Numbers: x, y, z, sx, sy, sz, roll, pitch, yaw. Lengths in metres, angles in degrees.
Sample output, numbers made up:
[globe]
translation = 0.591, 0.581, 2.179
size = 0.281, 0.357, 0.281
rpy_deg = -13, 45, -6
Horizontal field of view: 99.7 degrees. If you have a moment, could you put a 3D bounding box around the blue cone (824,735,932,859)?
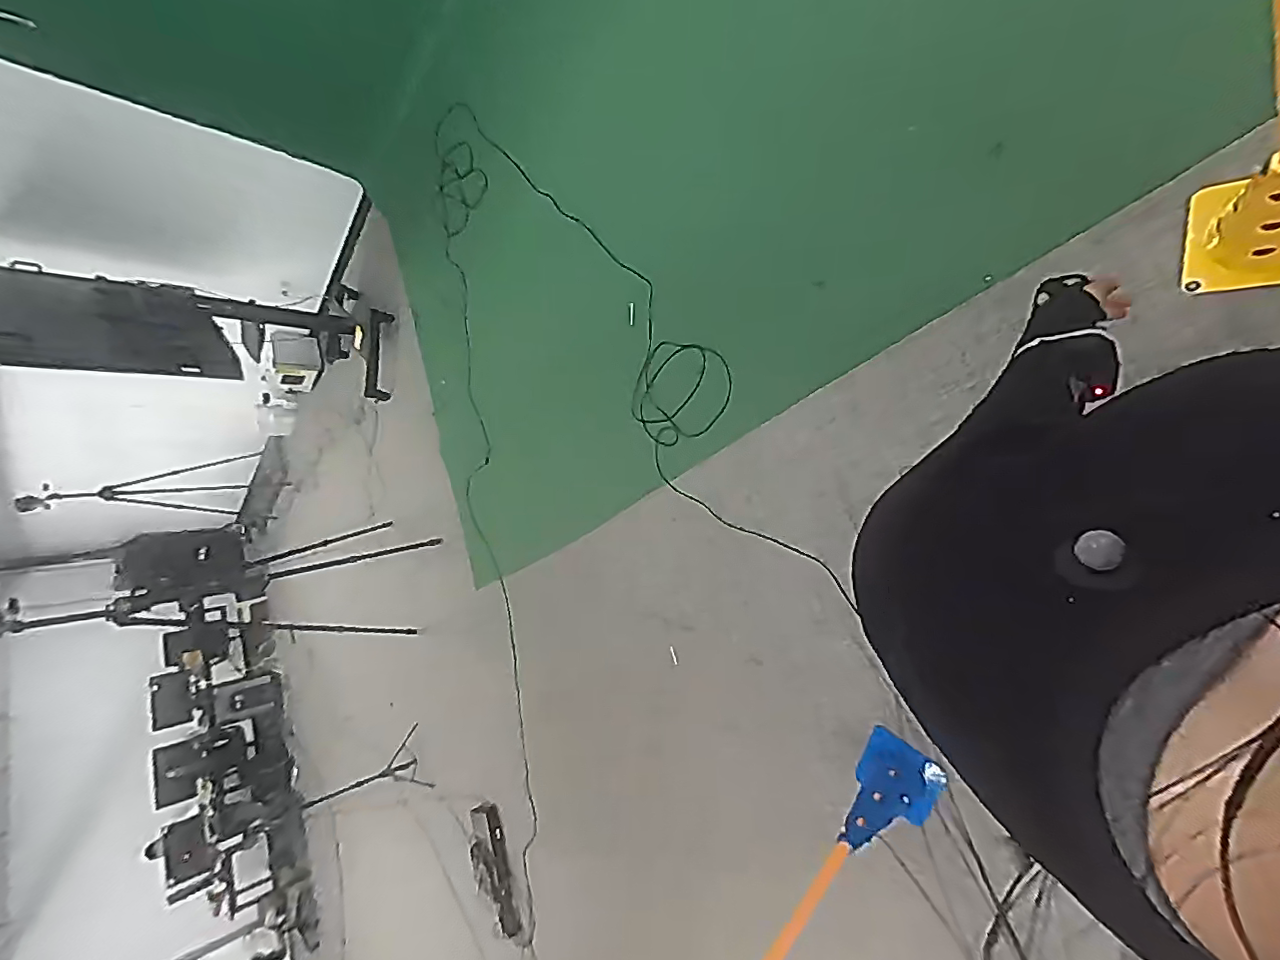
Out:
[blue cone]
translation = 0.575, 0.838, 1.367
size = 0.192, 0.380, 0.193
rpy_deg = 26, 112, 39
